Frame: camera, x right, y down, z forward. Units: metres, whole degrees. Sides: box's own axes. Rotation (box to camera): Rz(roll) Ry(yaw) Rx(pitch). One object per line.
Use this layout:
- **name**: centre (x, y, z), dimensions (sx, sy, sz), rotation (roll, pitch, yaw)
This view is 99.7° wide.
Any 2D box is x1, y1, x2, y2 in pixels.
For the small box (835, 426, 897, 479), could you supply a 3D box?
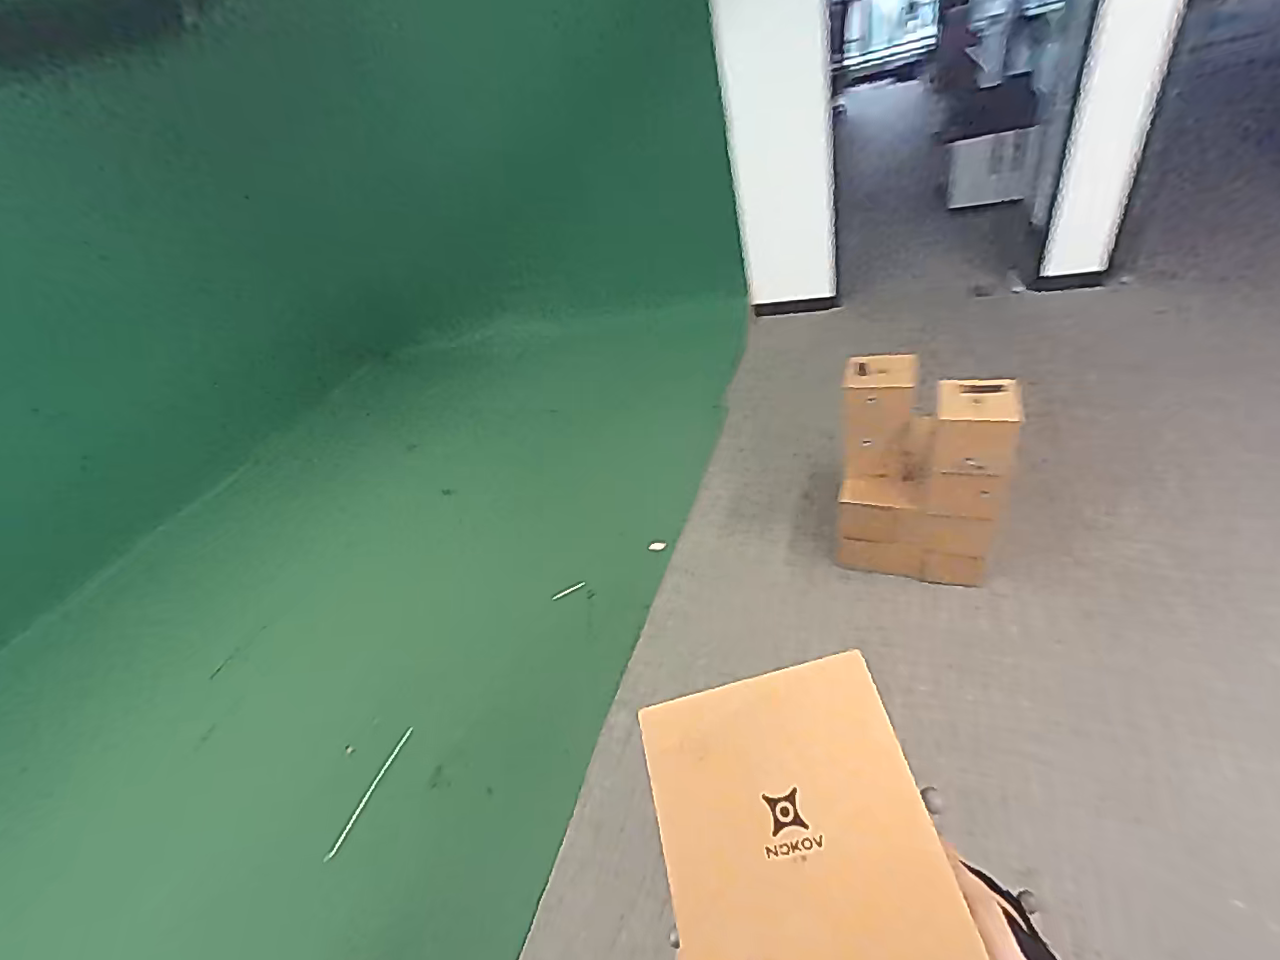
- **small box**: centre (0.694, -0.125, 1.653), dimensions (0.168, 0.176, 0.179), rotation (3, 42, 26)

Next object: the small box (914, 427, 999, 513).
- **small box**: centre (0.853, -0.027, 1.472), dimensions (0.179, 0.176, 0.168), rotation (3, 43, 24)

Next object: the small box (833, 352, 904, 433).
- **small box**: centre (0.656, -0.246, 1.545), dimensions (0.179, 0.176, 0.168), rotation (2, 43, 26)
